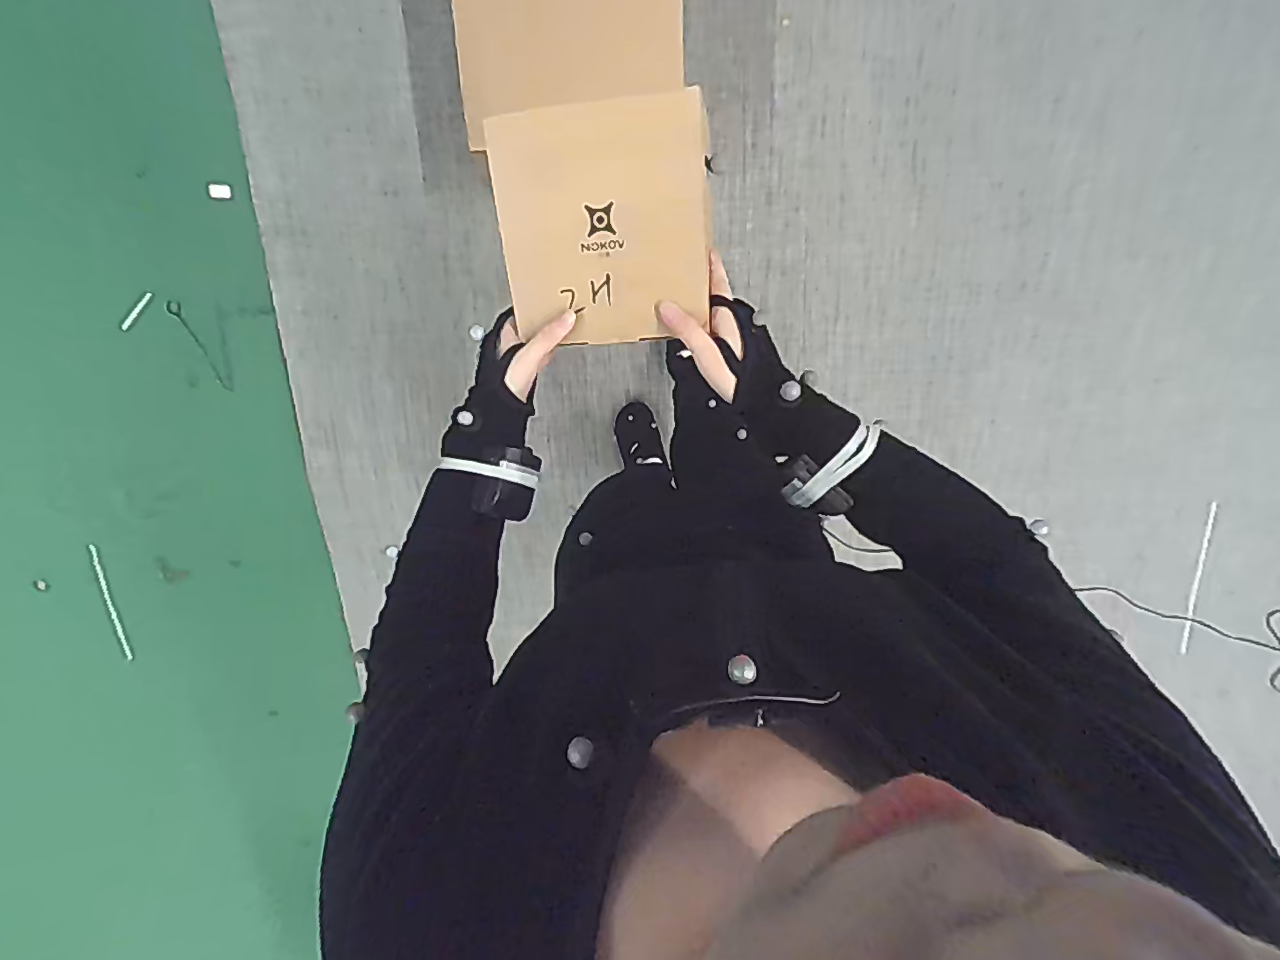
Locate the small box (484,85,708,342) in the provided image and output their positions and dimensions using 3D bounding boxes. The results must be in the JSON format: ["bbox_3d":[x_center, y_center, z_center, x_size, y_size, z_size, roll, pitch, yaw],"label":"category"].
[{"bbox_3d":[-0.023,-0.233,0.504,0.168,0.176,0.179,-2,113,10],"label":"small box"}]
